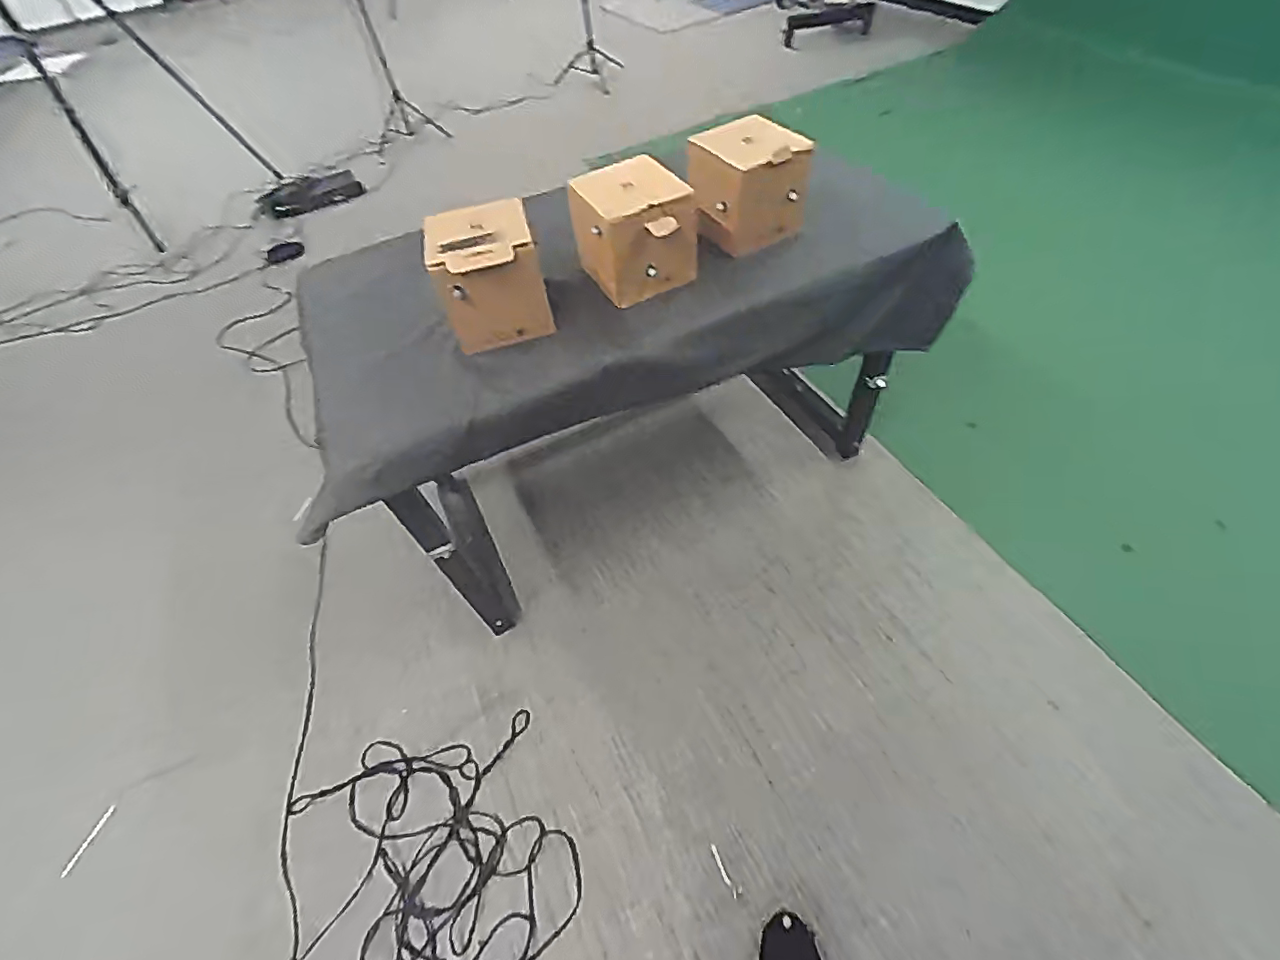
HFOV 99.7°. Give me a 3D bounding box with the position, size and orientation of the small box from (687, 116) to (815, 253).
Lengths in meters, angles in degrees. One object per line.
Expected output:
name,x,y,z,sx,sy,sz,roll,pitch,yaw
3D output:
small box,0.206,-0.563,1.041,0.168,0.176,0.179,-27,54,-15

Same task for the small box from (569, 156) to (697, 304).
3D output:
small box,-0.011,-0.451,0.980,0.168,0.176,0.179,-26,55,-13
